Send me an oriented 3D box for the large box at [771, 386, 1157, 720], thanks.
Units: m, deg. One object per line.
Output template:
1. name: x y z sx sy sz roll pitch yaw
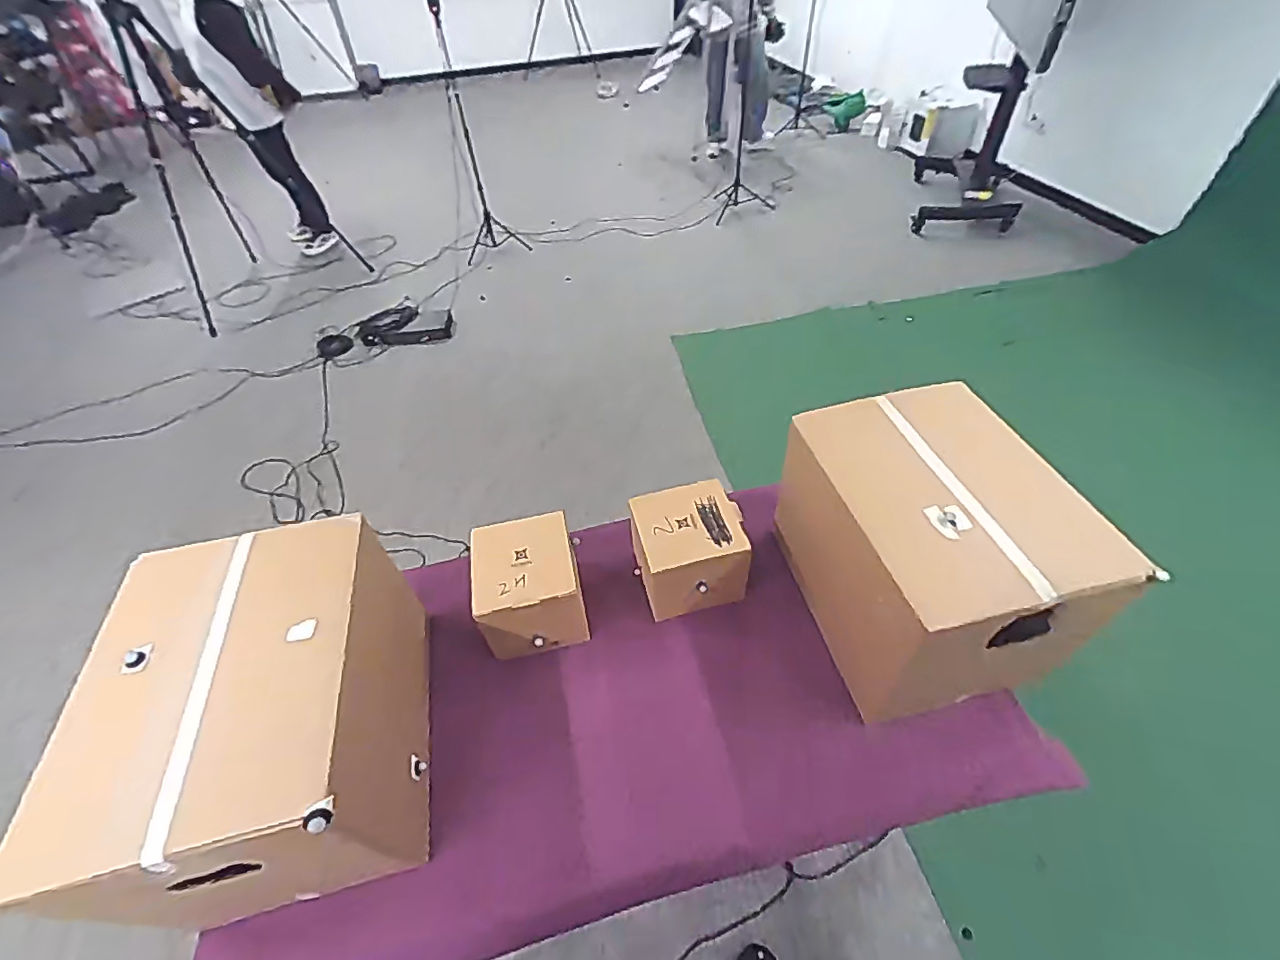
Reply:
1. large box: 0.448 0.109 0.882 0.320 0.320 0.408 -12 48 -5

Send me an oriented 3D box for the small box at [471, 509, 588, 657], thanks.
1. small box: -0.193 0.182 0.951 0.168 0.176 0.179 -12 48 -6
